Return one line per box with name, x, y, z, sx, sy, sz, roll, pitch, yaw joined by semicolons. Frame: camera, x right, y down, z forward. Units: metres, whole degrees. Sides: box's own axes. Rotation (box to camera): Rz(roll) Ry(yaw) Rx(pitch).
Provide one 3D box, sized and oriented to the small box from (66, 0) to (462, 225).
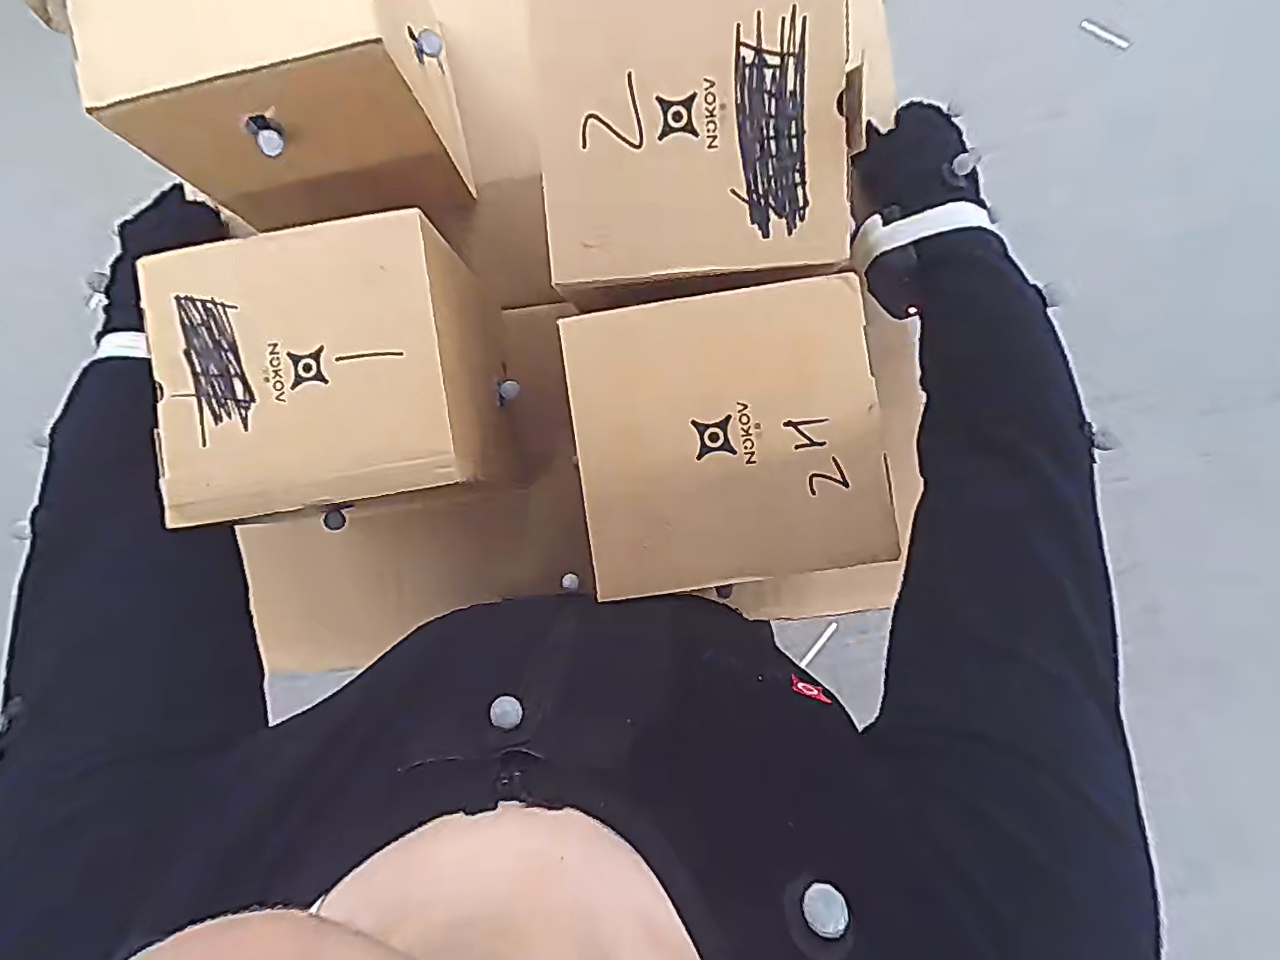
small box;-0.243;-0.313;0.384;0.179;0.176;0.168;-12;88;2
